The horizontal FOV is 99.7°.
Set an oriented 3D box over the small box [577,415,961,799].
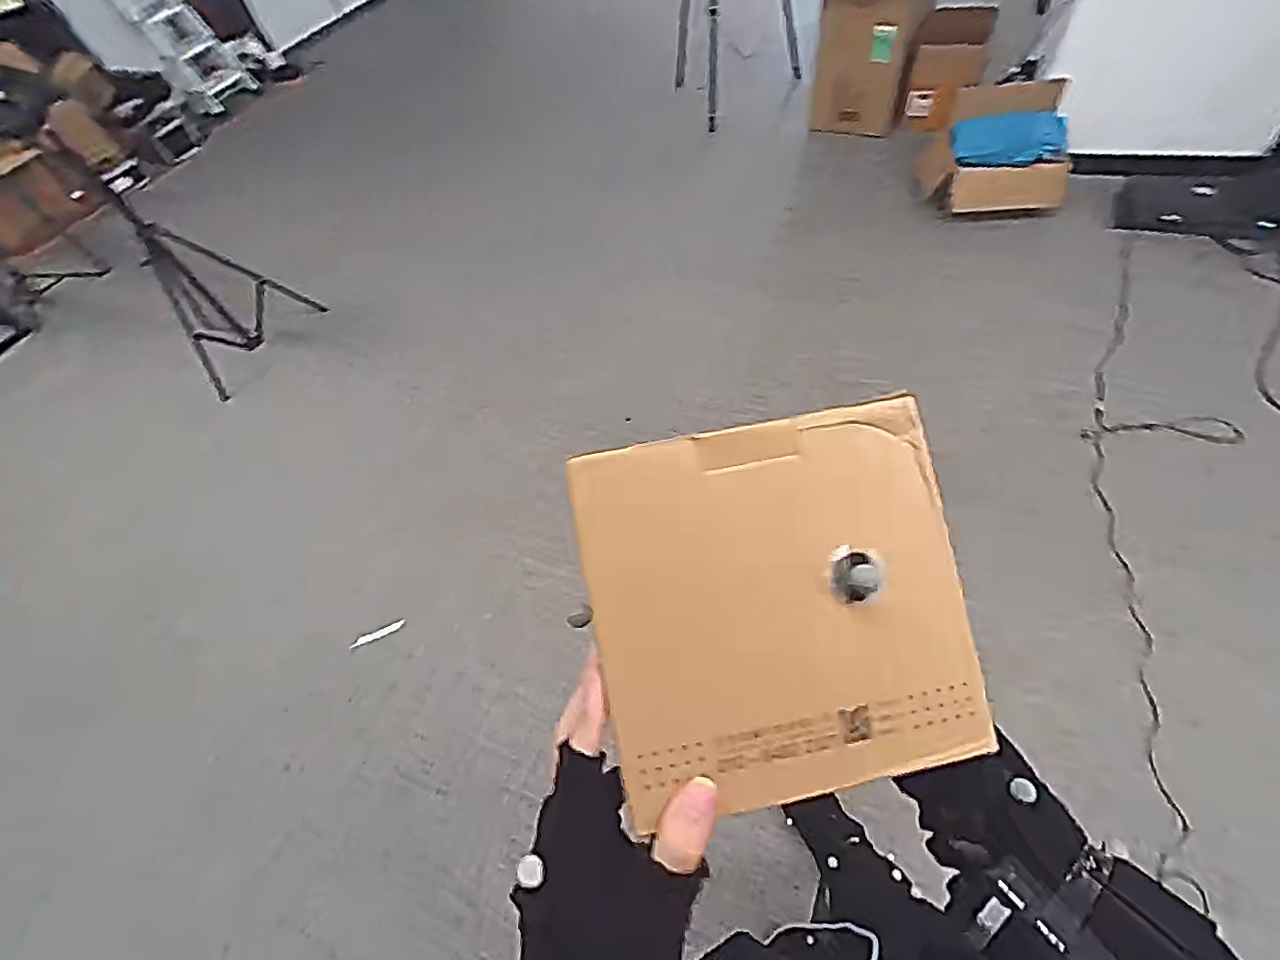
[{"bbox_3d":[0.061,0.072,0.339,0.168,0.179,0.176,-11,85,-5],"label":"small box"}]
